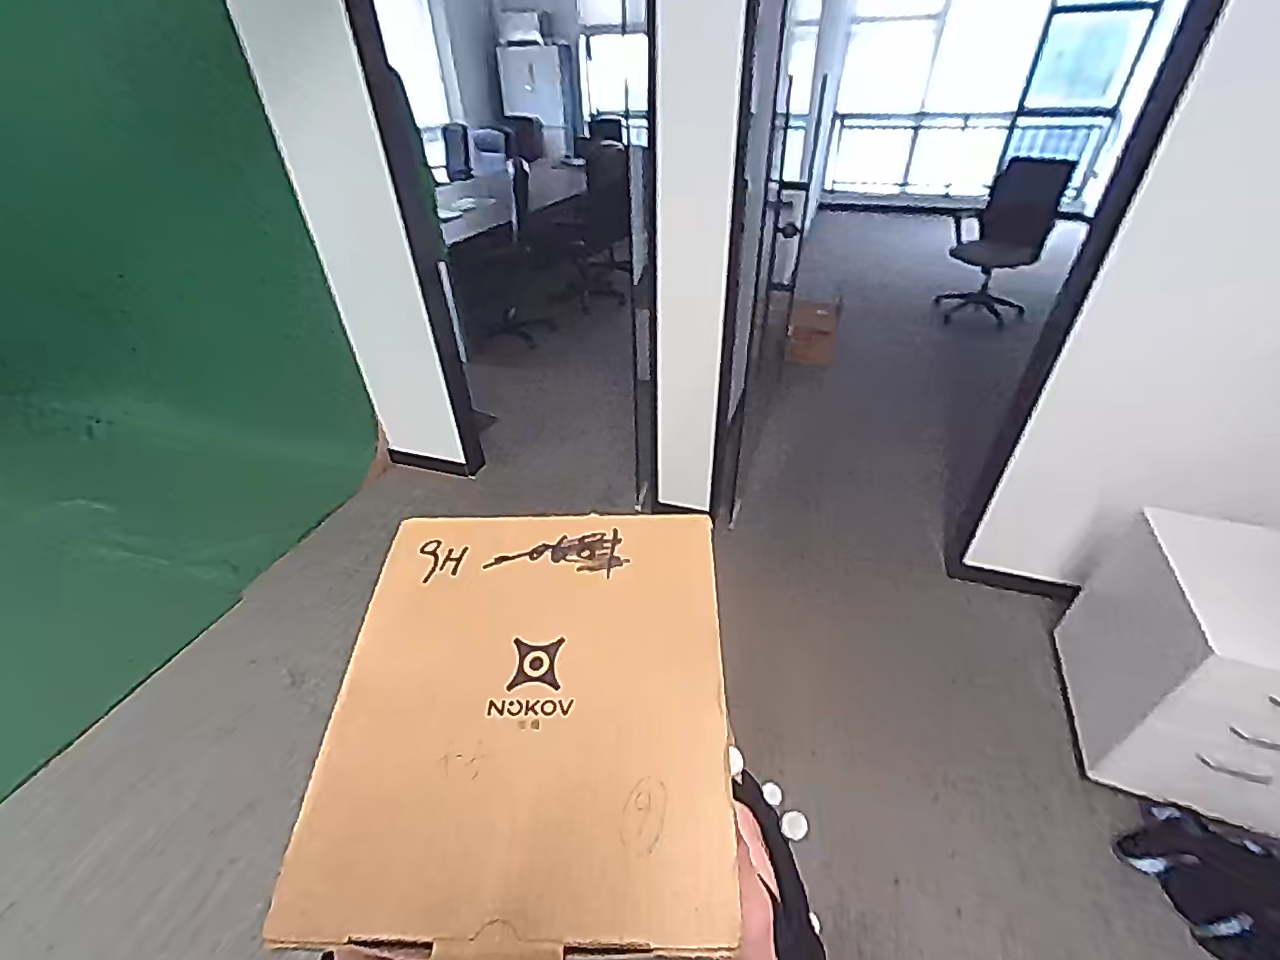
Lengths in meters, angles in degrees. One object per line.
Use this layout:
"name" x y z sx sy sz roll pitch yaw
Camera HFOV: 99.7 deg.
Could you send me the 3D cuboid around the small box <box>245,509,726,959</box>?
"small box" -0.049 0.133 0.290 0.168 0.176 0.179 0 53 0
